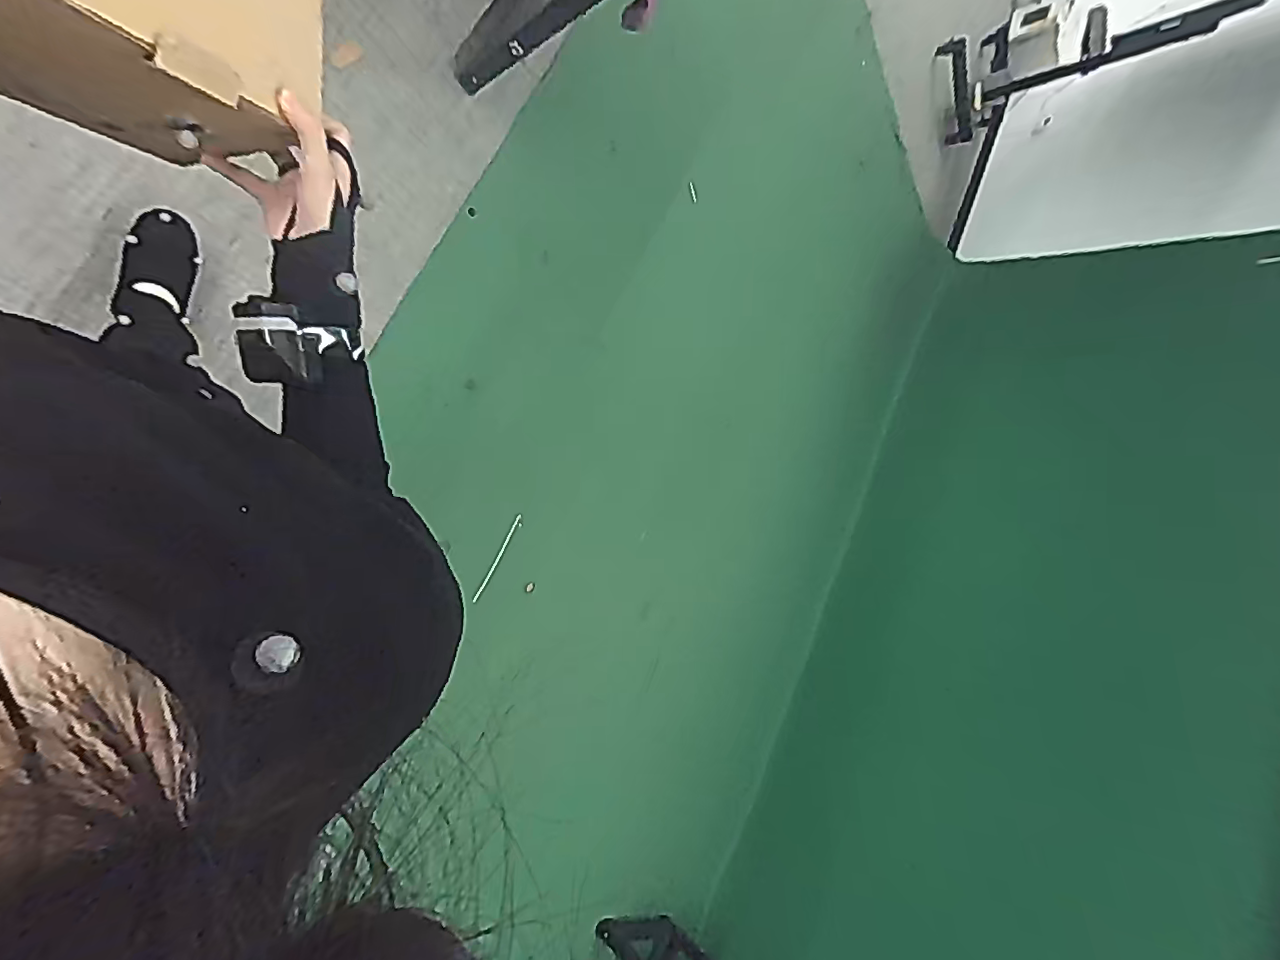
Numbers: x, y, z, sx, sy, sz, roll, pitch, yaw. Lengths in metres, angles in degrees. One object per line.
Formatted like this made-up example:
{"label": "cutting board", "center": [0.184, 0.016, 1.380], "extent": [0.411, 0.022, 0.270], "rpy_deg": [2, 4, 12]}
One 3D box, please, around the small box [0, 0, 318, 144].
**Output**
{"label": "small box", "center": [-0.339, -0.346, 0.343], "extent": [0.168, 0.176, 0.179], "rpy_deg": [-10, 105, -69]}
